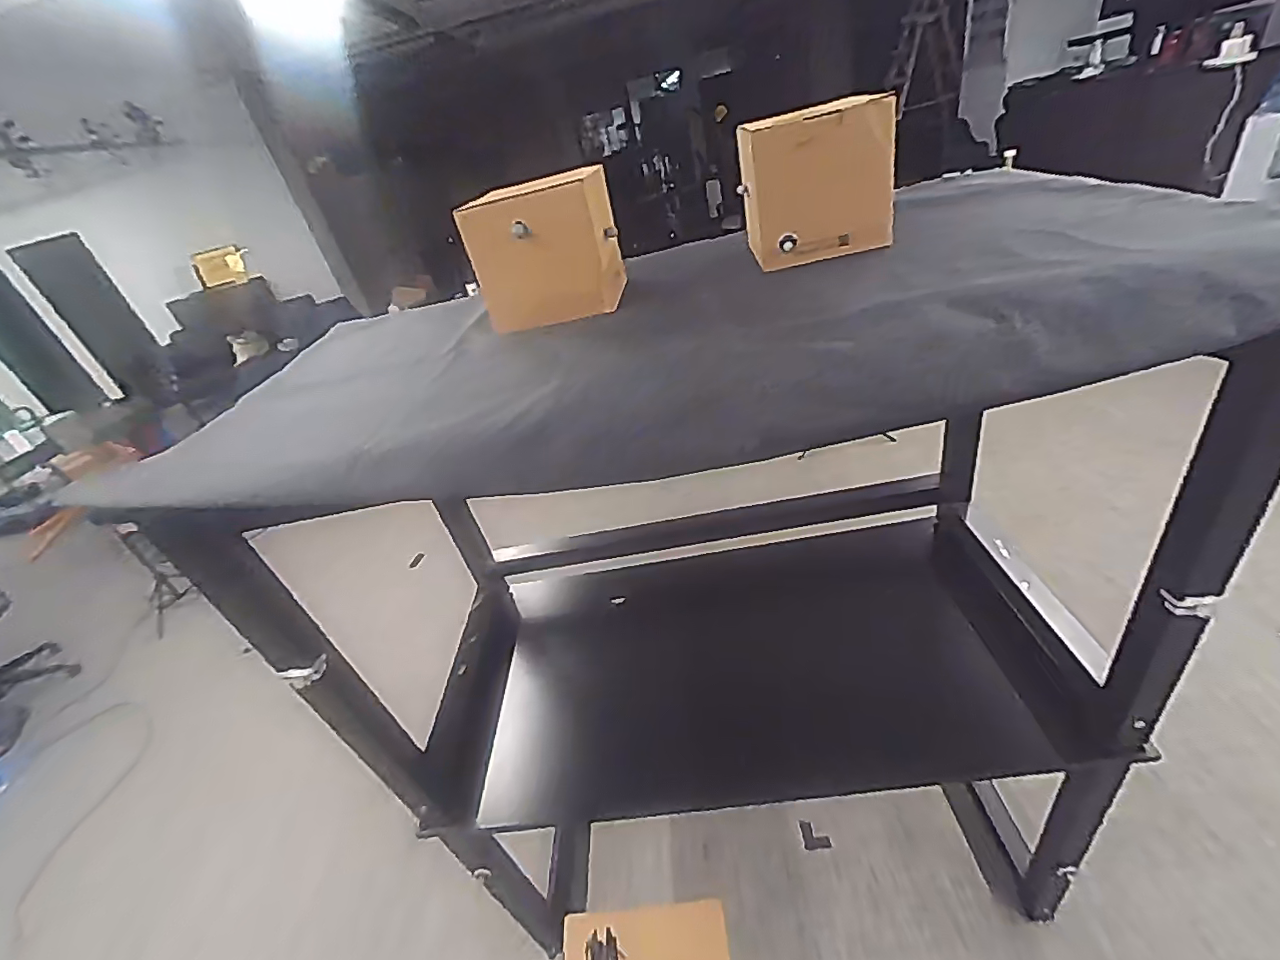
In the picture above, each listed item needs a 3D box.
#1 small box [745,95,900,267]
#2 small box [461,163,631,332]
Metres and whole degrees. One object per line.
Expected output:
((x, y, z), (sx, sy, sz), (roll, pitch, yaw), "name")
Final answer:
((0.241, -0.402, 0.738), (0.168, 0.176, 0.179), (-8, 33, 10), "small box")
((-0.117, -0.329, 0.769), (0.179, 0.176, 0.168), (-7, 34, 12), "small box")
